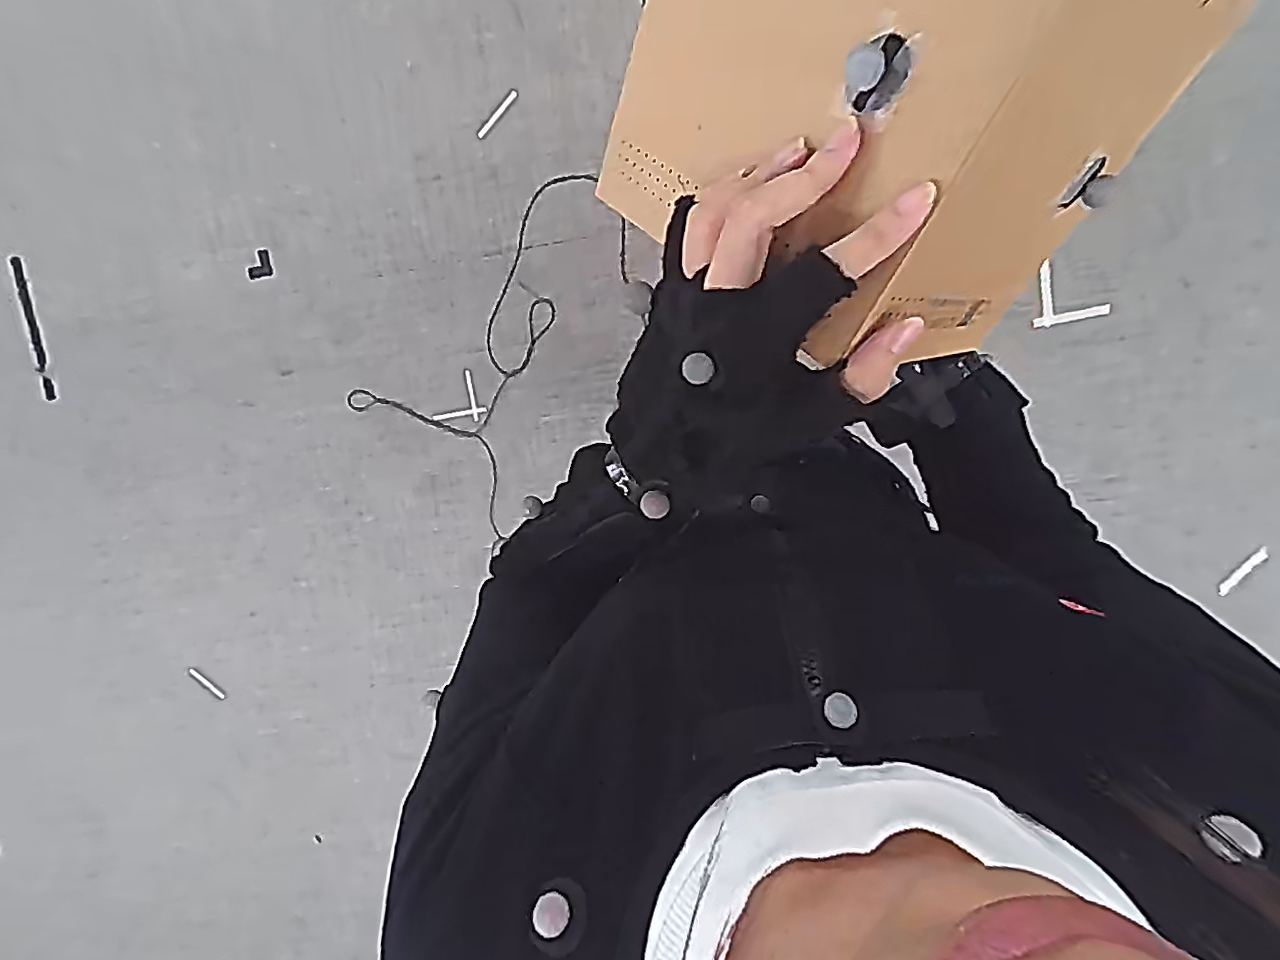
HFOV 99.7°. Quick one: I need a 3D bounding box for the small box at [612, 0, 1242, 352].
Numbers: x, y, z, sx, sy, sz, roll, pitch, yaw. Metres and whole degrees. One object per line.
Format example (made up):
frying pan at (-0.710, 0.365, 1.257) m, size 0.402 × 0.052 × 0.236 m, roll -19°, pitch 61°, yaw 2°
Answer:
small box at (0.114, -0.174, 0.263) m, size 0.179 × 0.168 × 0.176 m, roll 48°, pitch 132°, yaw 28°
